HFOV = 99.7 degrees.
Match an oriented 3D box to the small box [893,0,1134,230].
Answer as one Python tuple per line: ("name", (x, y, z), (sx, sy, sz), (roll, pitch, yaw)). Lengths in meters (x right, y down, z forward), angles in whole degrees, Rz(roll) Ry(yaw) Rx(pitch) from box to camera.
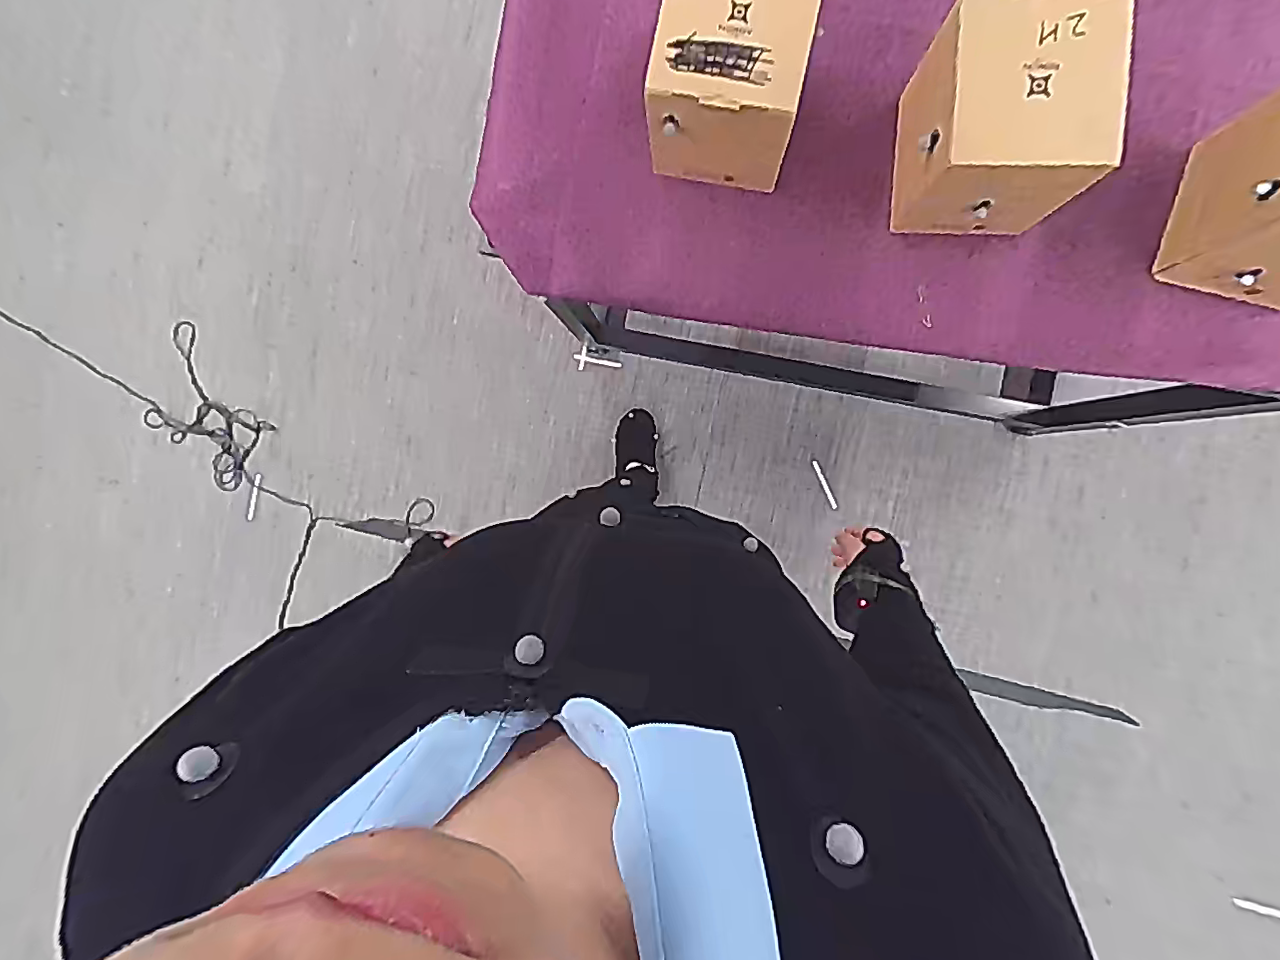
("small box", (0.409, -0.407, 0.623), (0.168, 0.176, 0.179), (3, 92, 4))

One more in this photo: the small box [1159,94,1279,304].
("small box", (0.742, -0.321, 0.597), (0.168, 0.176, 0.179), (16, 92, 5))
